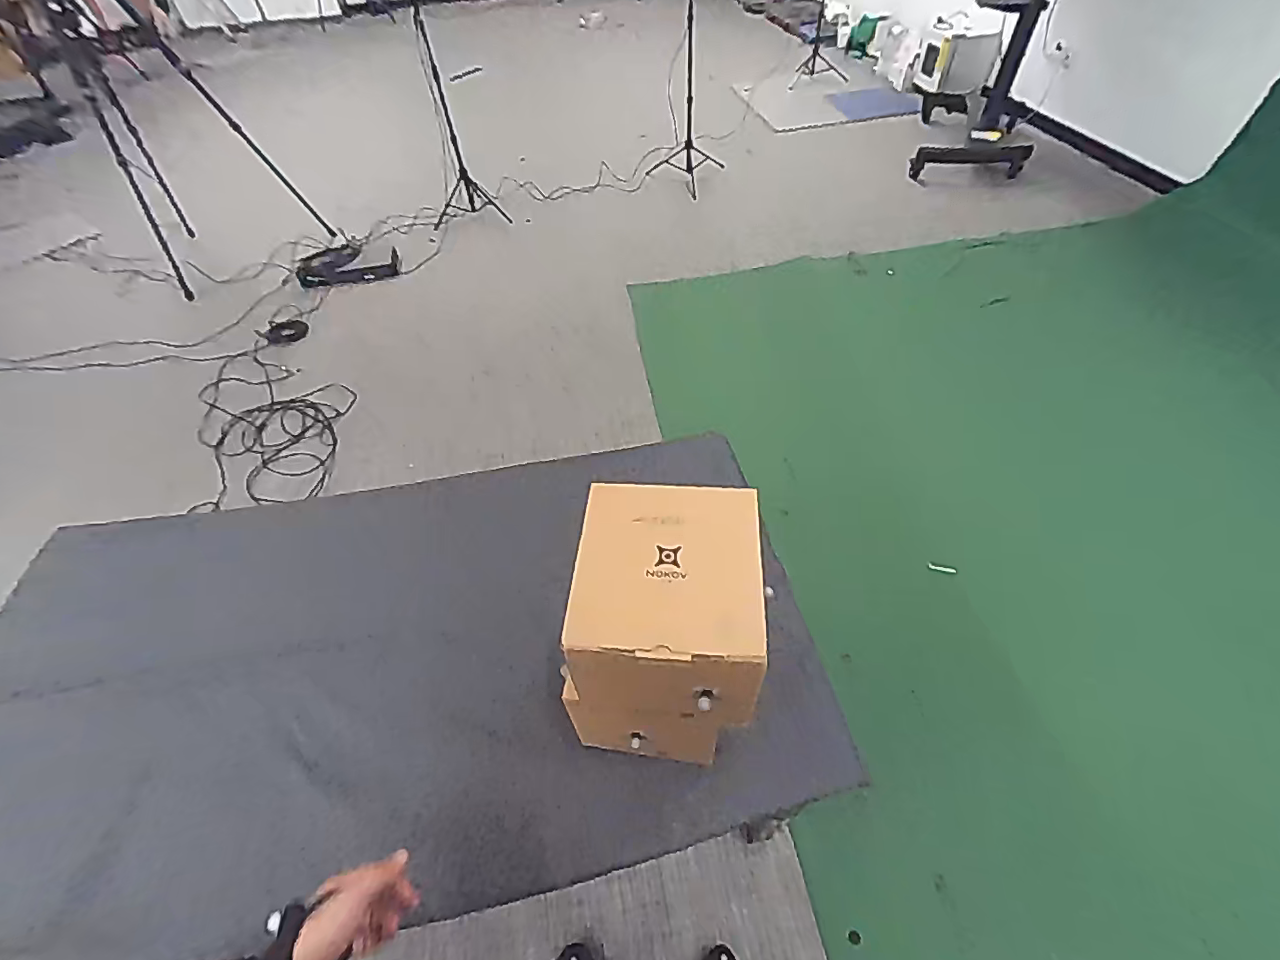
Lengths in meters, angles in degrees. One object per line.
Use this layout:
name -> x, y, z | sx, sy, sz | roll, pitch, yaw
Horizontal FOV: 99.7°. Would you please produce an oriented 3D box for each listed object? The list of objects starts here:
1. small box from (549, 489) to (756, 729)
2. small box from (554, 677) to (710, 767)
small box -> 0.019, 0.128, 0.529 | 0.168, 0.176, 0.179 | 2, 49, 4
small box -> 0.008, 0.229, 0.658 | 0.168, 0.176, 0.179 | 5, 49, 8
